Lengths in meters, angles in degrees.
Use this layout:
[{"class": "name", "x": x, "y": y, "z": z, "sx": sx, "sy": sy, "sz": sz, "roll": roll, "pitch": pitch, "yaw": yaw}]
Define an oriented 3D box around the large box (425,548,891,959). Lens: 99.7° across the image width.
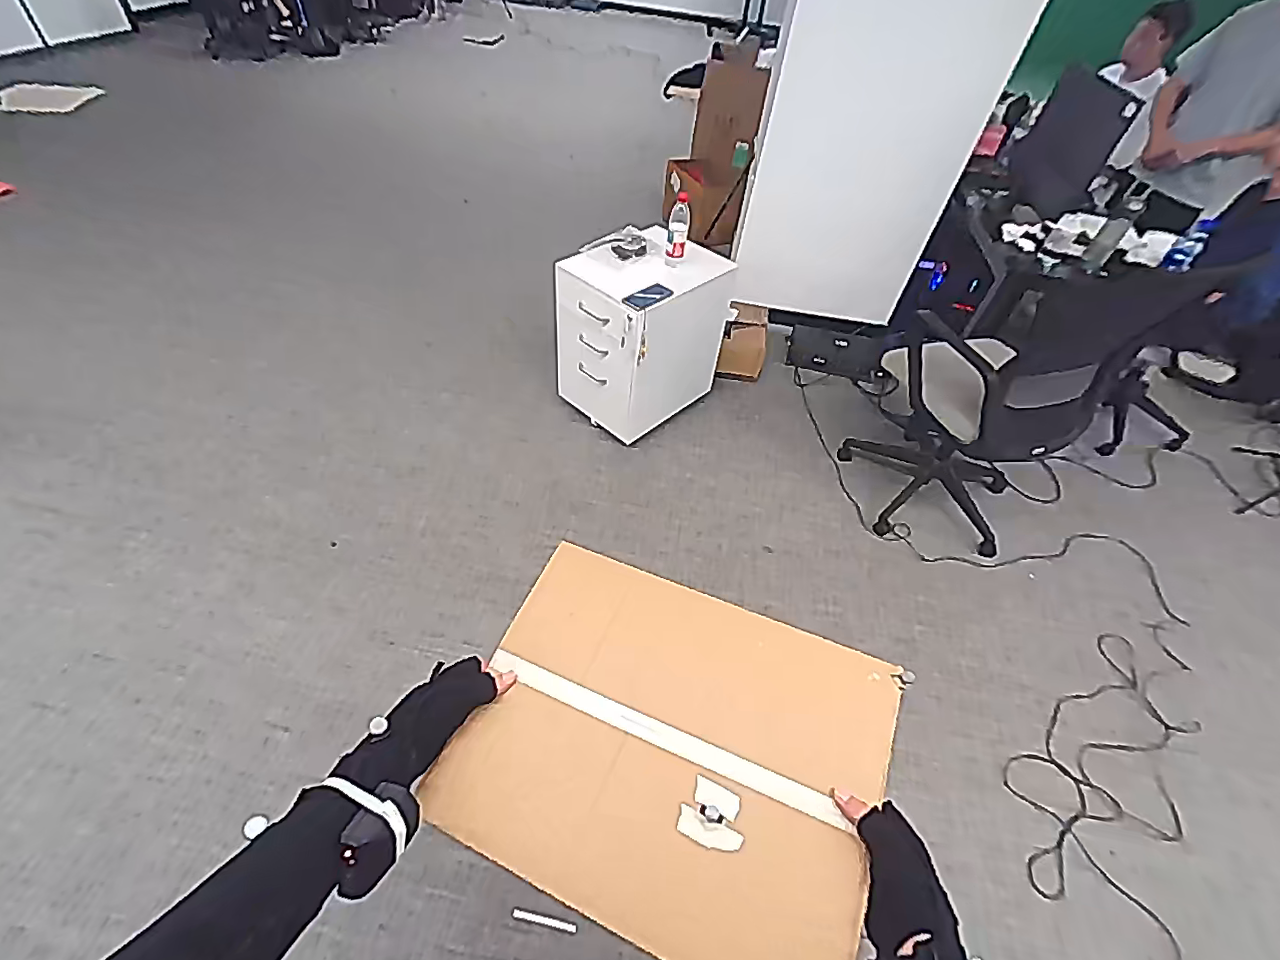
[{"class": "large box", "x": 0.034, "y": 0.340, "z": 0.671, "sx": 0.408, "sy": 0.320, "sz": 0.320, "roll": 18, "pitch": 59, "yaw": 15}]
